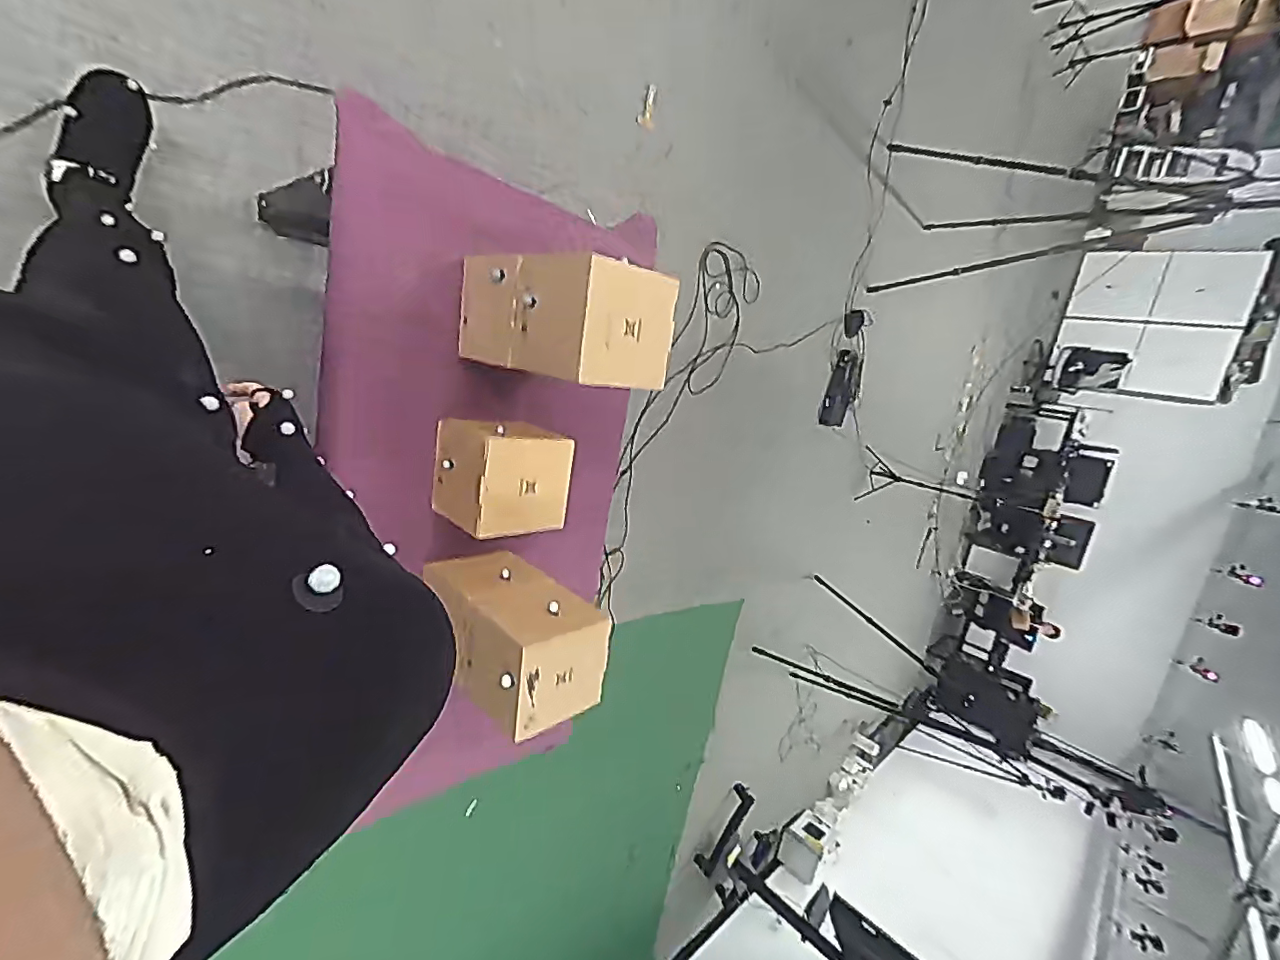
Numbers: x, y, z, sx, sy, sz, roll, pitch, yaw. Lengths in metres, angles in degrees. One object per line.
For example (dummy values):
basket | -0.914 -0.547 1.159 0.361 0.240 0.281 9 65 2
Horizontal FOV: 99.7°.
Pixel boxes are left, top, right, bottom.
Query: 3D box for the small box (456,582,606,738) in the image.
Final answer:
small box | -0.185 0.288 0.914 0.179 0.176 0.168 -6 109 -46

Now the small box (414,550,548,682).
small box | -0.301 0.243 1.021 0.179 0.176 0.168 -4 108 -45

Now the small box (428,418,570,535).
small box | -0.254 -0.013 0.970 0.179 0.176 0.168 -3 108 -45

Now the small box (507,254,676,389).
small box | -0.075 -0.238 0.818 0.179 0.176 0.168 -5 109 -46
